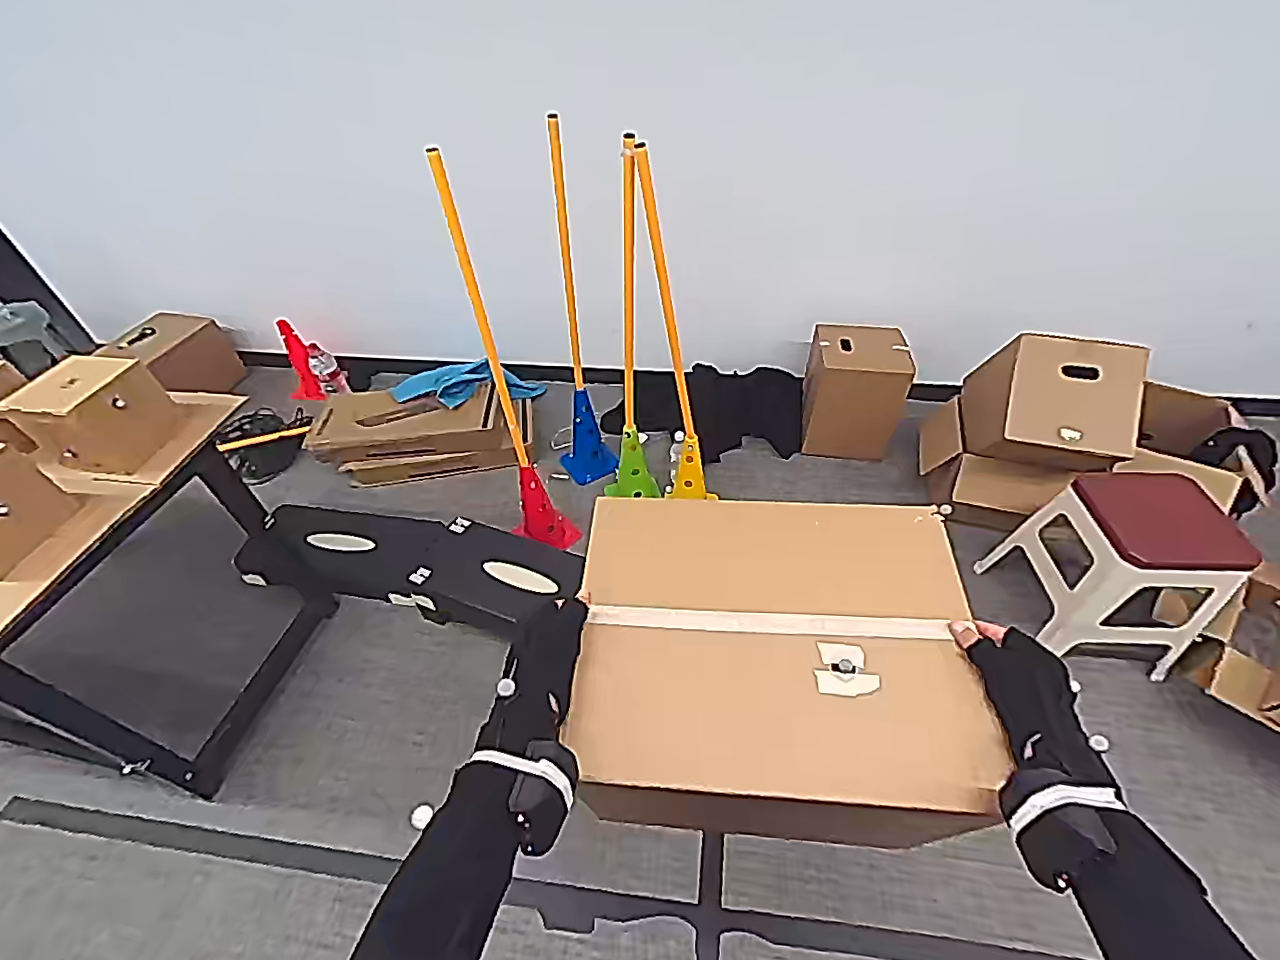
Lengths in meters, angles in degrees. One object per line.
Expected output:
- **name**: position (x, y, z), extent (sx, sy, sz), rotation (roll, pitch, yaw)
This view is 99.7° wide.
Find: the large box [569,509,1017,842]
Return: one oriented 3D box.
- **large box**: position (0.146, 0.251, 0.688), extent (0.408, 0.320, 0.320), rotation (1, 52, 5)
